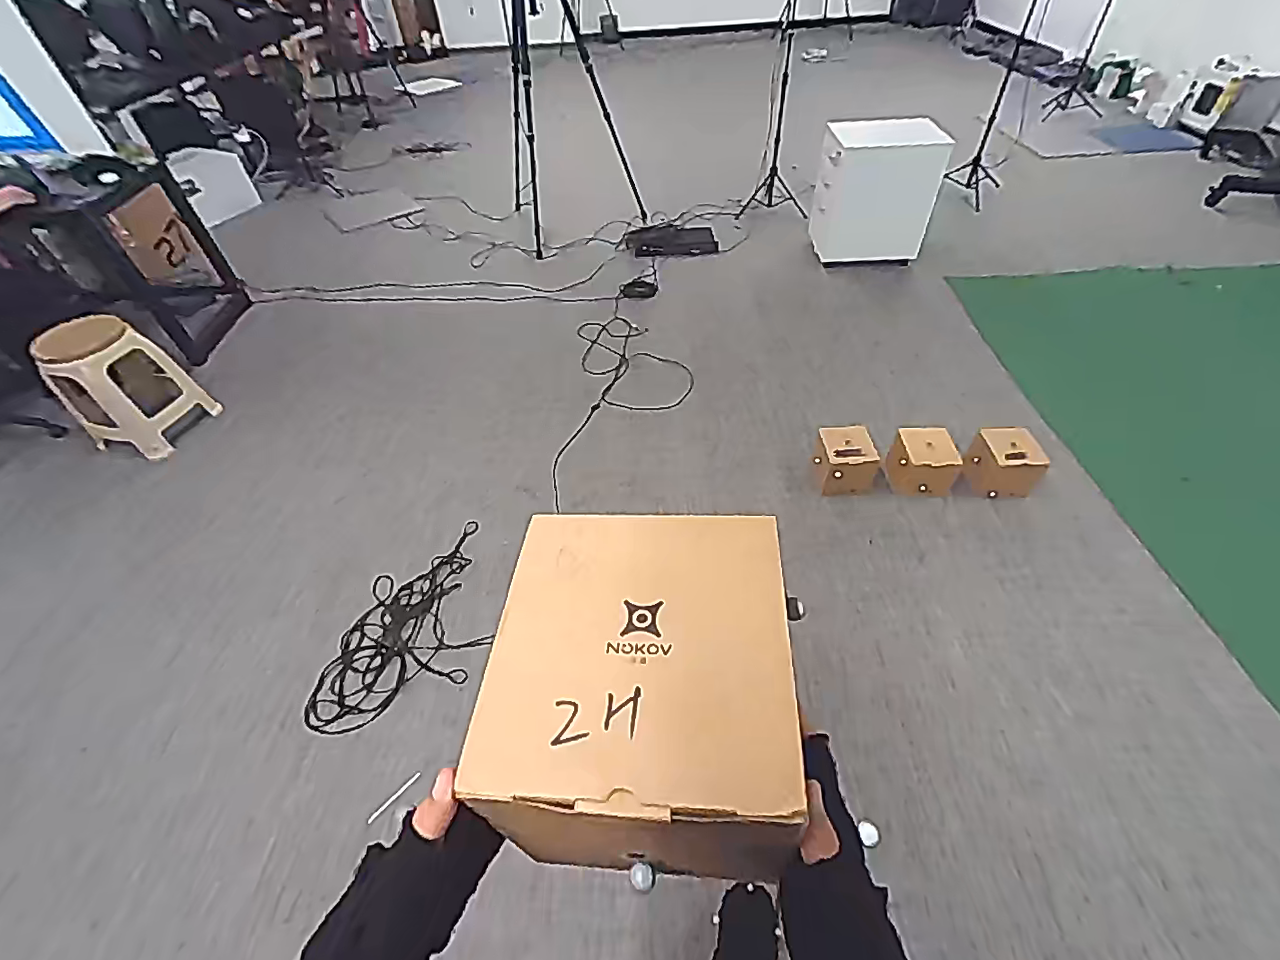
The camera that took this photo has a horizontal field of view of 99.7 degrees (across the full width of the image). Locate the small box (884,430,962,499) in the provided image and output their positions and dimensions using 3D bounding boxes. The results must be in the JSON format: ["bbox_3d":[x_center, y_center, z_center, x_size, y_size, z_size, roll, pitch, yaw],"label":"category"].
[{"bbox_3d":[0.971,-0.053,1.876,0.168,0.176,0.179,0,48,2],"label":"small box"}]

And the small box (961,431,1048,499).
[{"bbox_3d":[1.240,-0.048,1.858,0.168,0.176,0.179,-1,47,2],"label":"small box"}]
